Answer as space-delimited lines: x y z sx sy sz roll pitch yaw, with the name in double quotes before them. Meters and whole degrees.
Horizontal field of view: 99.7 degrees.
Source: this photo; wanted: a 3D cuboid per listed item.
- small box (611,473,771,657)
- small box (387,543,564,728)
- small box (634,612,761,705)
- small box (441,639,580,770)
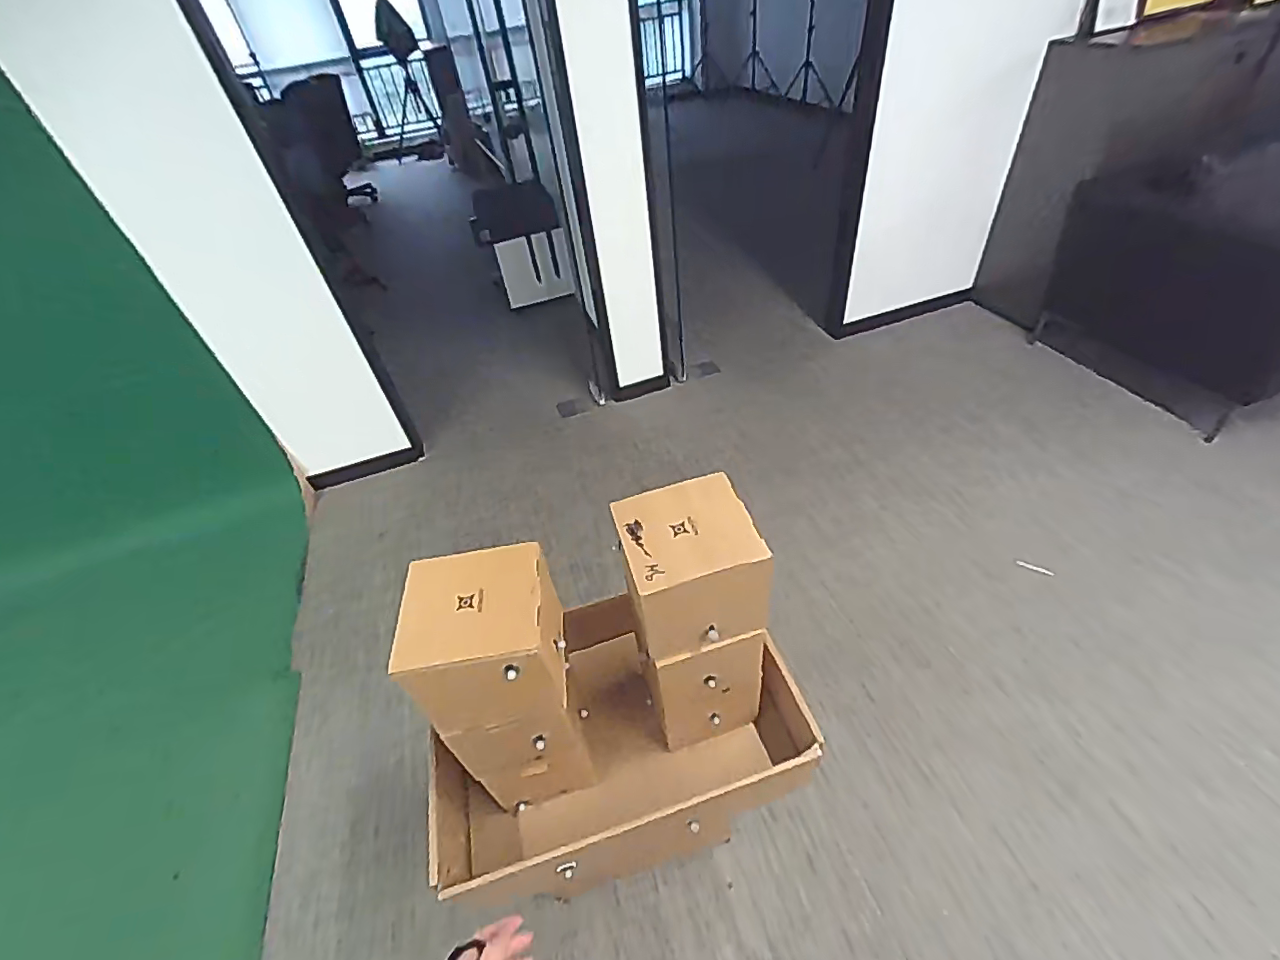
"small box" 0.068 0.121 0.767 0.179 0.176 0.168 -15 44 -6
"small box" -0.206 0.211 0.728 0.179 0.176 0.168 -9 43 -3
"small box" 0.086 0.241 0.879 0.168 0.176 0.179 -16 44 -7
"small box" -0.194 0.327 0.842 0.168 0.176 0.179 -12 43 -4
